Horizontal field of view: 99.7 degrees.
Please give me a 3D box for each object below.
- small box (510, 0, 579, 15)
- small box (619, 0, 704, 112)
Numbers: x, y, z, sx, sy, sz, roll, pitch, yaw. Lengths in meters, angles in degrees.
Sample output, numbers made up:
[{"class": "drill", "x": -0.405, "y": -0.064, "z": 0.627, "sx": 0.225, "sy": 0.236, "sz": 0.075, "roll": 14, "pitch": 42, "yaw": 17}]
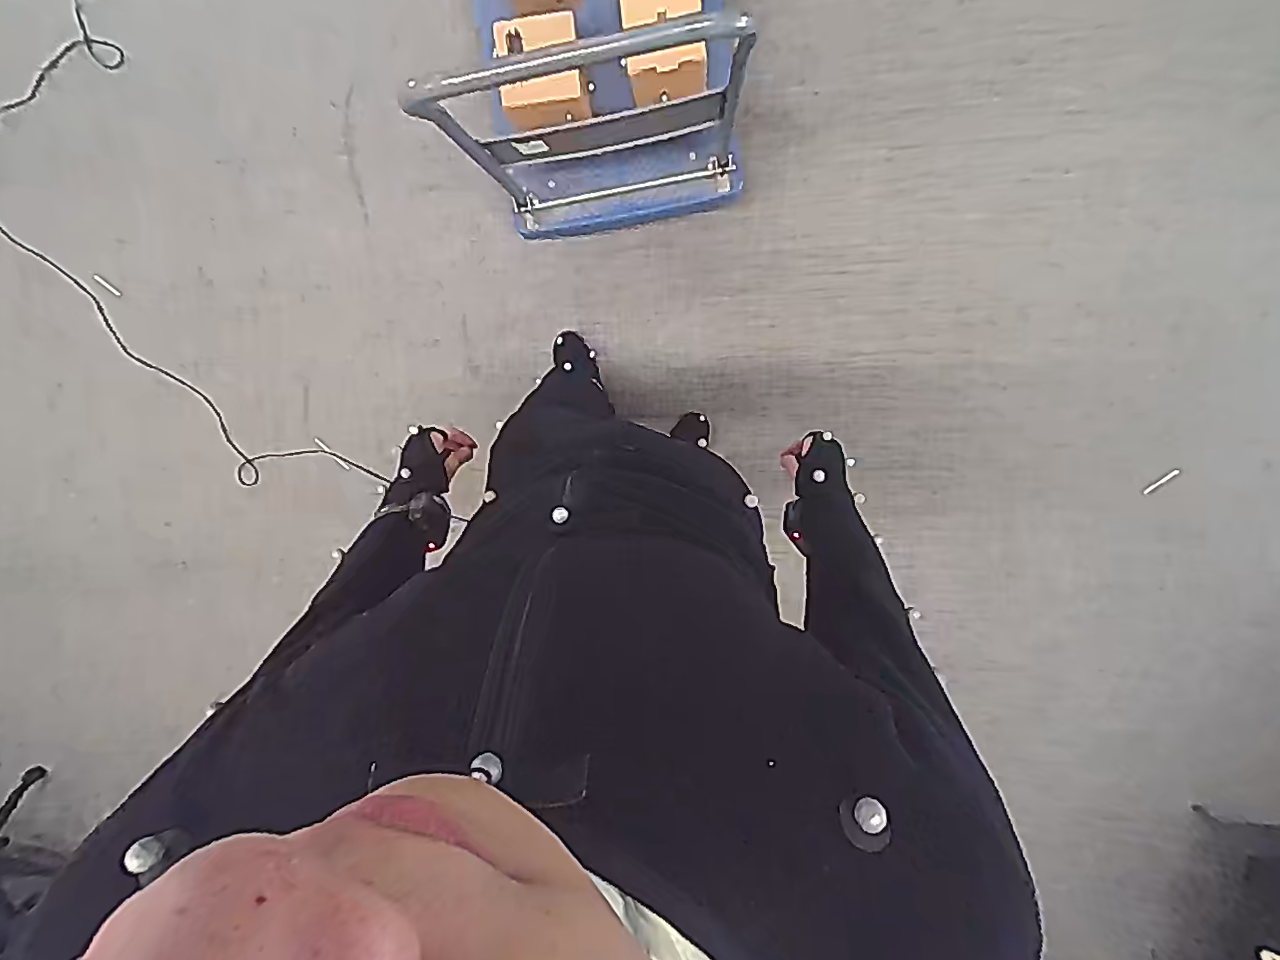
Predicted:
[{"class": "small box", "x": -0.235, "y": -1.180, "z": 1.194, "sx": 0.168, "sy": 0.176, "sz": 0.179, "roll": -11, "pitch": 99, "yaw": 7}, {"class": "small box", "x": 0.050, "y": -0.965, "z": 1.202, "sx": 0.168, "sy": 0.176, "sz": 0.179, "roll": -7, "pitch": 100, "yaw": 7}]
